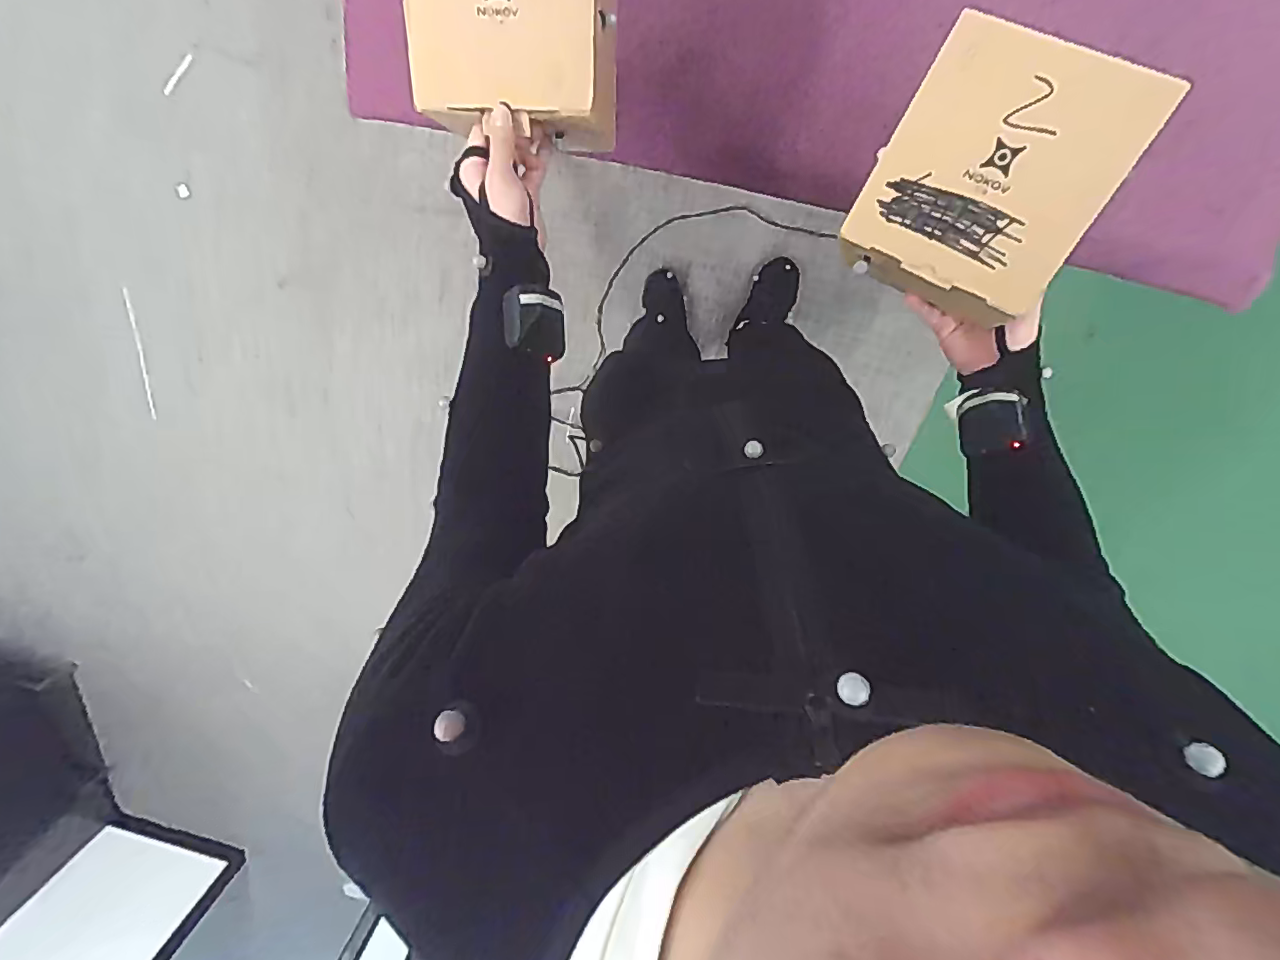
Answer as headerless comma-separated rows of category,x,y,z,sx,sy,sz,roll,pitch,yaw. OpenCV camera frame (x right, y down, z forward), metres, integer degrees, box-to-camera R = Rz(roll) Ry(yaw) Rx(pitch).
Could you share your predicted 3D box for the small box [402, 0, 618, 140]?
small box,-0.114,-0.447,0.525,0.168,0.176,0.179,5,111,3
